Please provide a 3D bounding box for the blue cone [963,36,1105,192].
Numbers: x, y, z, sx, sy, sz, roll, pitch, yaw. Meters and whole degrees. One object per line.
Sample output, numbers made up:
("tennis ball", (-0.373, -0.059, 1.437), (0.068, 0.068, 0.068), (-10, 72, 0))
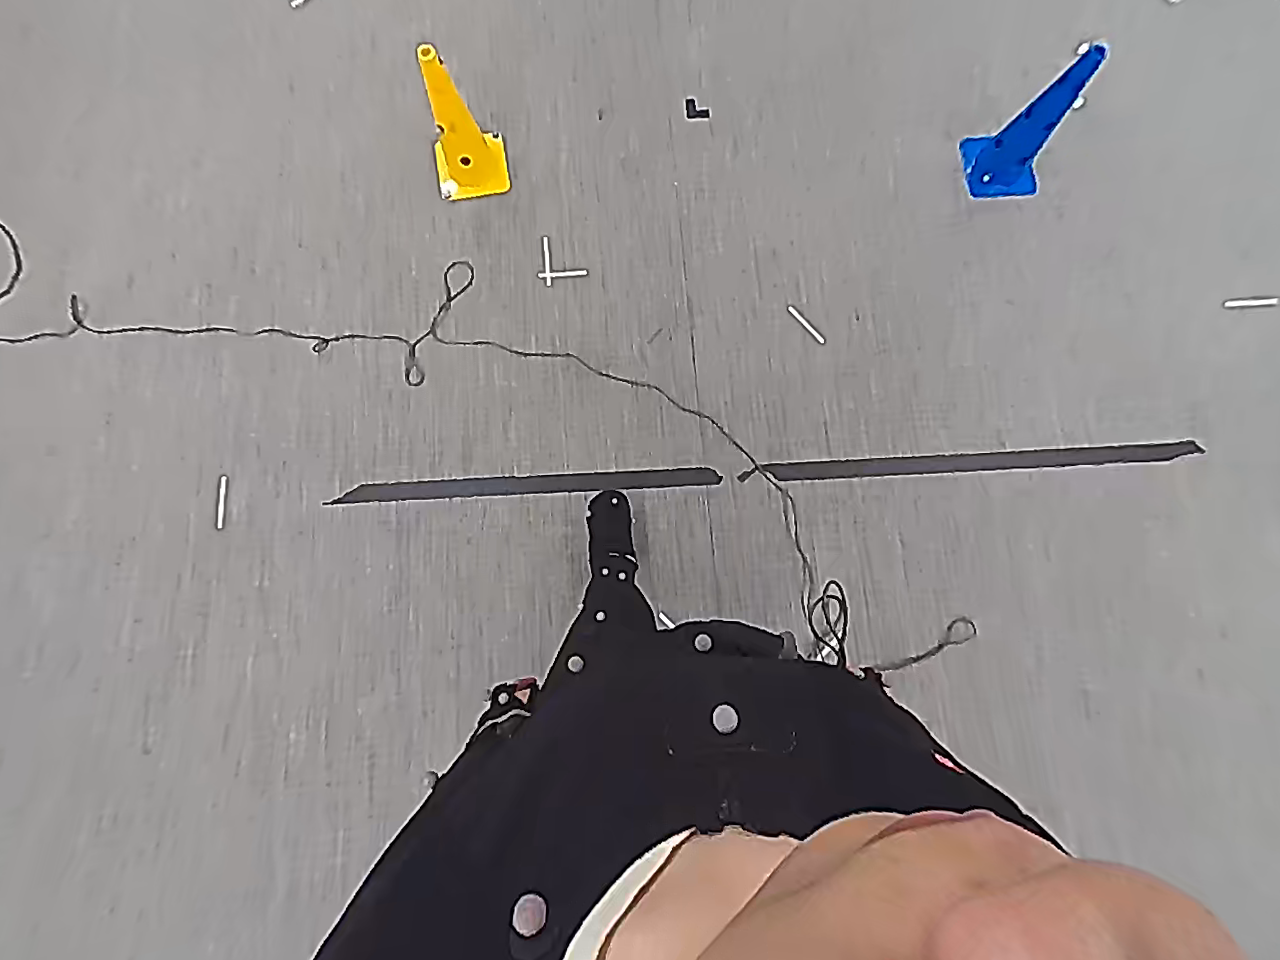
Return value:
("blue cone", (1.053, -0.958, 1.420), (0.193, 0.380, 0.192), (-3, 78, -1))
